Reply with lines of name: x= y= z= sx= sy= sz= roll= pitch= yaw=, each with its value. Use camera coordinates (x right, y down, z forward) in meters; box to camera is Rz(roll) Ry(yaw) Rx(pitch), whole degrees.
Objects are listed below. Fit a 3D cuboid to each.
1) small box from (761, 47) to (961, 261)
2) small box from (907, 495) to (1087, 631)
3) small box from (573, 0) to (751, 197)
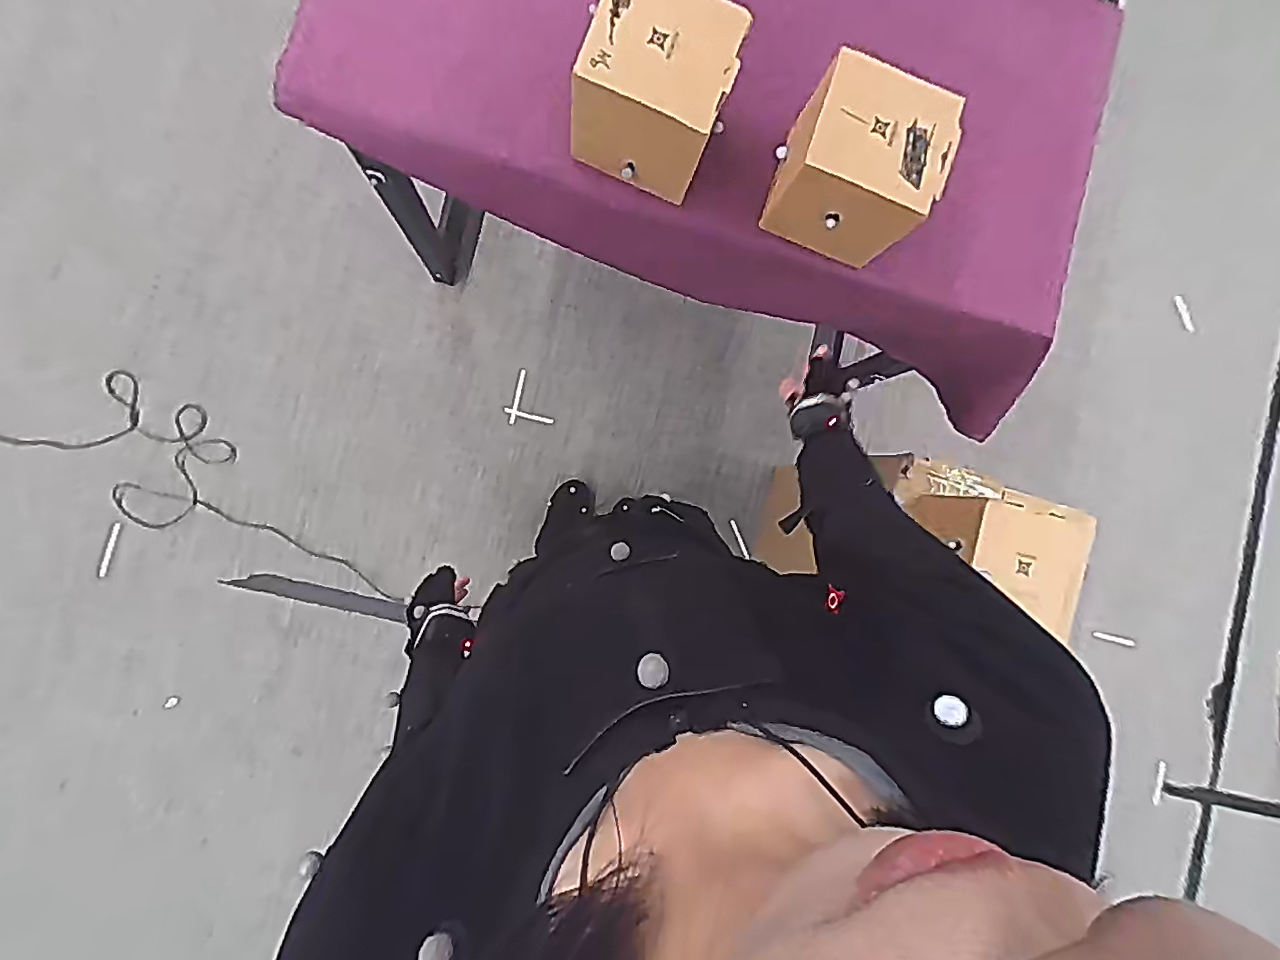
small box: x=0.297 y=-0.436 z=0.759 sx=0.179 sy=0.176 sz=0.168 roll=19 pitch=86 yaw=-6
small box: x=0.571 y=0.126 z=0.887 sx=0.168 sy=0.176 sz=0.179 roll=14 pitch=88 yaw=-4
small box: x=0.019 y=-0.517 z=0.725 sx=0.179 sy=0.176 sz=0.168 roll=21 pitch=86 yaw=-7
